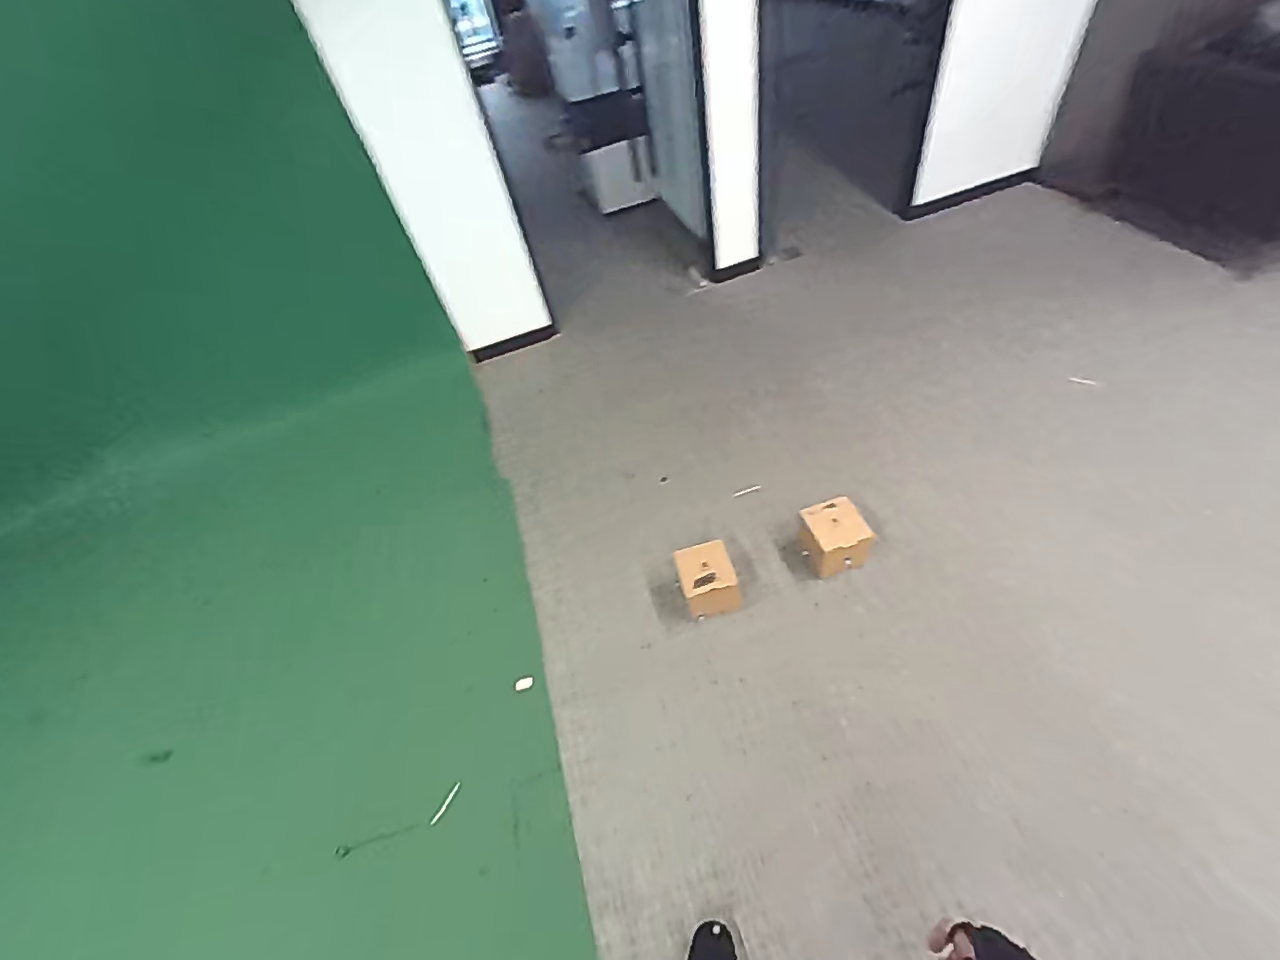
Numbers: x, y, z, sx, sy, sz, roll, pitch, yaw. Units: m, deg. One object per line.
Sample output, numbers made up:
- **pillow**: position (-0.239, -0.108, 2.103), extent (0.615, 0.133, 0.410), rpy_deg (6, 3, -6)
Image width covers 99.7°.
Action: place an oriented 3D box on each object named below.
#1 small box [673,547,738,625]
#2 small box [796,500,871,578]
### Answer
- **small box**: position (0.216, 0.351, 1.756), extent (0.168, 0.176, 0.179), rpy_deg (-15, 47, -2)
- **small box**: position (0.627, 0.202, 1.773), extent (0.168, 0.176, 0.179), rpy_deg (-18, 49, -3)
